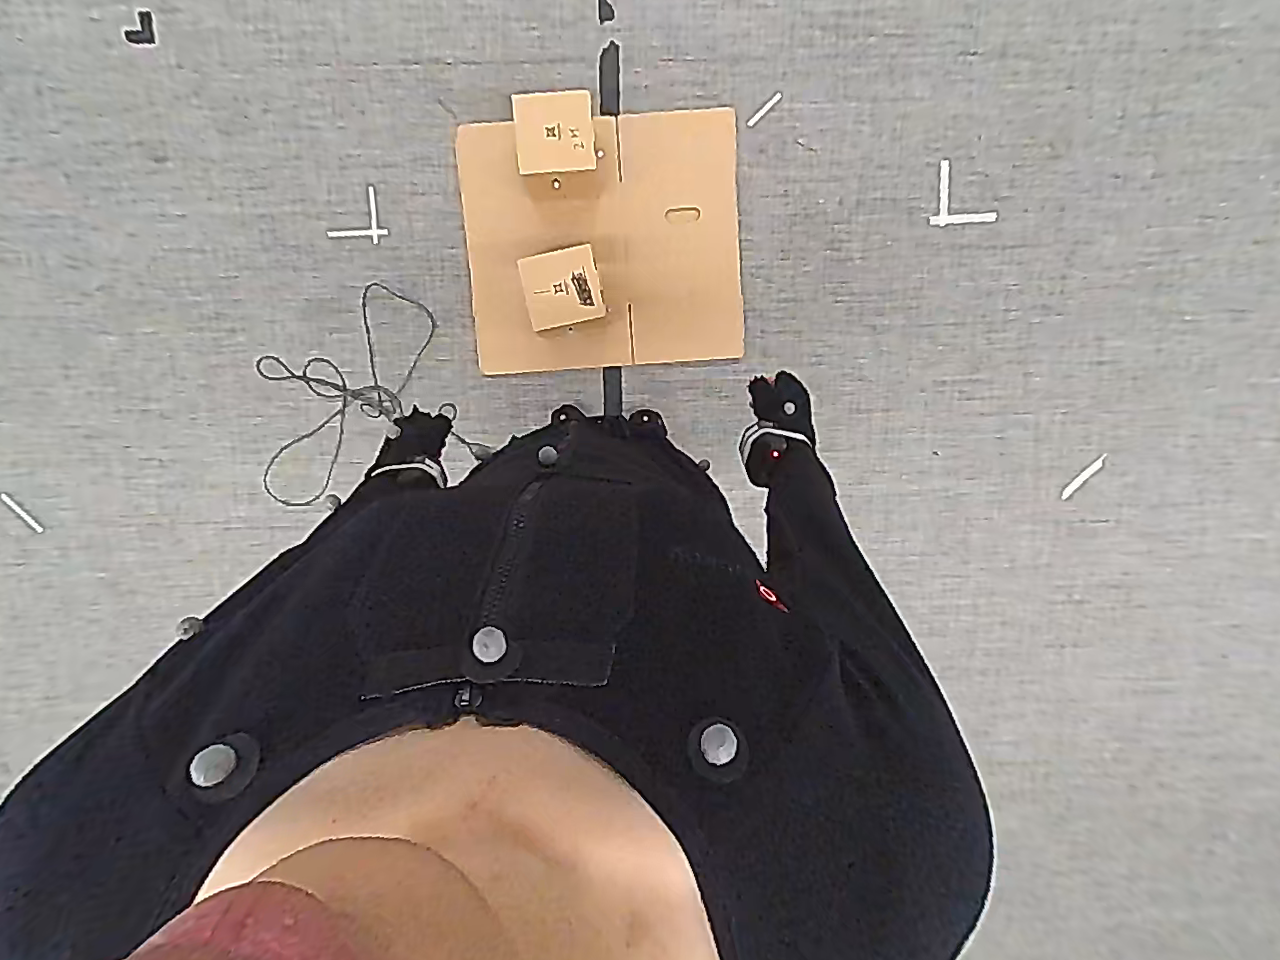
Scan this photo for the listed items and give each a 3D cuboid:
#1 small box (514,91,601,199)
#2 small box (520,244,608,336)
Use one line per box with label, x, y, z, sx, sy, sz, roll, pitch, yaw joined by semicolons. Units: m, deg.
small box;-0.188;-0.781;1.278;0.179;0.176;0.168;-4;98;-1
small box;-0.178;-0.458;1.325;0.179;0.176;0.168;-12;98;1
